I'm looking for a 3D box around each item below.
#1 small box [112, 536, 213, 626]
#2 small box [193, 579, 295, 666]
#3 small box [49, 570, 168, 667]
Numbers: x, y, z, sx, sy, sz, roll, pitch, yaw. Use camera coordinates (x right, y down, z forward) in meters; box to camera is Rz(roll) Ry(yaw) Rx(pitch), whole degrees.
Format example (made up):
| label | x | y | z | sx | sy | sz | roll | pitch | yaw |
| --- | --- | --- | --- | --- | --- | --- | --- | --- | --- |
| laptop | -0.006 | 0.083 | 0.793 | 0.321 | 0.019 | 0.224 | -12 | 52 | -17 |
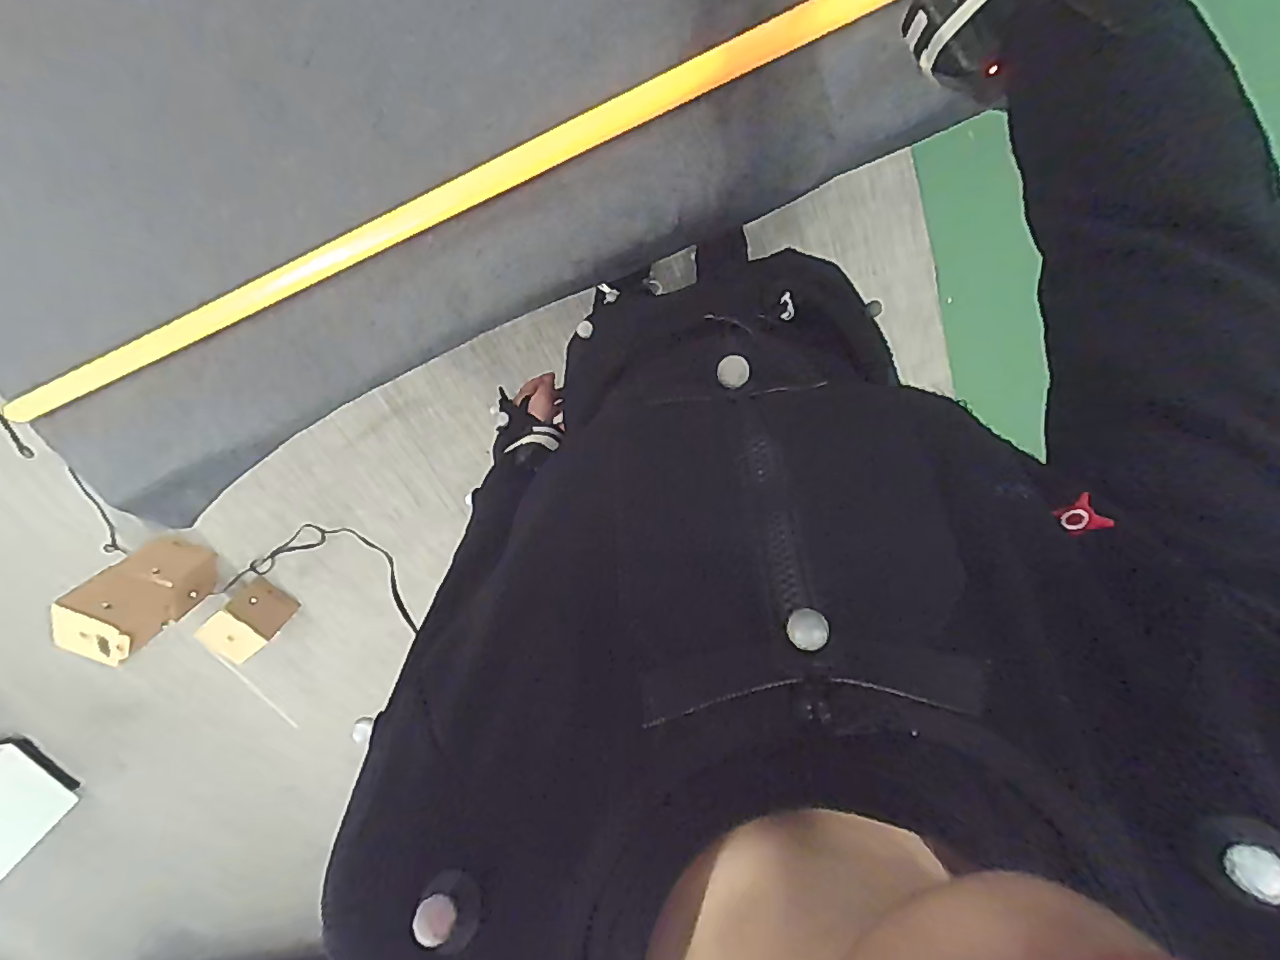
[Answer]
| label | x | y | z | sx | sy | sz | roll | pitch | yaw |
| --- | --- | --- | --- | --- | --- | --- | --- | --- | --- |
| small box | -1.445 | 0.304 | 1.650 | 0.168 | 0.176 | 0.179 | 20 | 118 | -6 |
| small box | -1.243 | 0.447 | 1.714 | 0.179 | 0.176 | 0.168 | -35 | 110 | 21 |
| small box | -1.468 | 0.380 | 1.505 | 0.179 | 0.176 | 0.168 | 25 | 116 | -7 |
